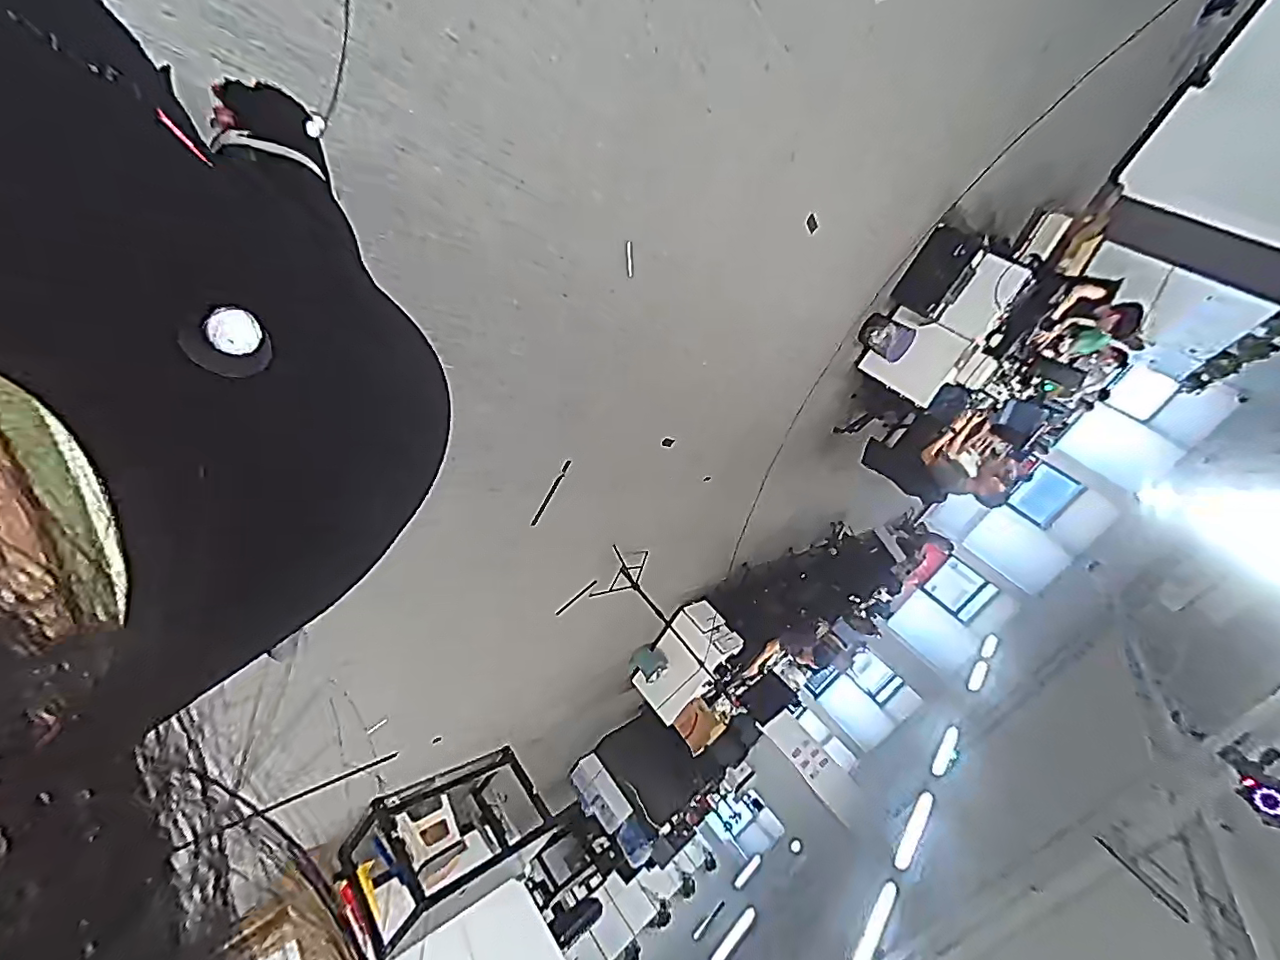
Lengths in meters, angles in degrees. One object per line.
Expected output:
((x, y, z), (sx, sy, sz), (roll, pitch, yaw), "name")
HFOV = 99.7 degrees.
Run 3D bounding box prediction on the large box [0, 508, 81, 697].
((-1.510, 0.264, 1.130), (0.320, 0.320, 0.408), (-55, 150, 16), "large box")
